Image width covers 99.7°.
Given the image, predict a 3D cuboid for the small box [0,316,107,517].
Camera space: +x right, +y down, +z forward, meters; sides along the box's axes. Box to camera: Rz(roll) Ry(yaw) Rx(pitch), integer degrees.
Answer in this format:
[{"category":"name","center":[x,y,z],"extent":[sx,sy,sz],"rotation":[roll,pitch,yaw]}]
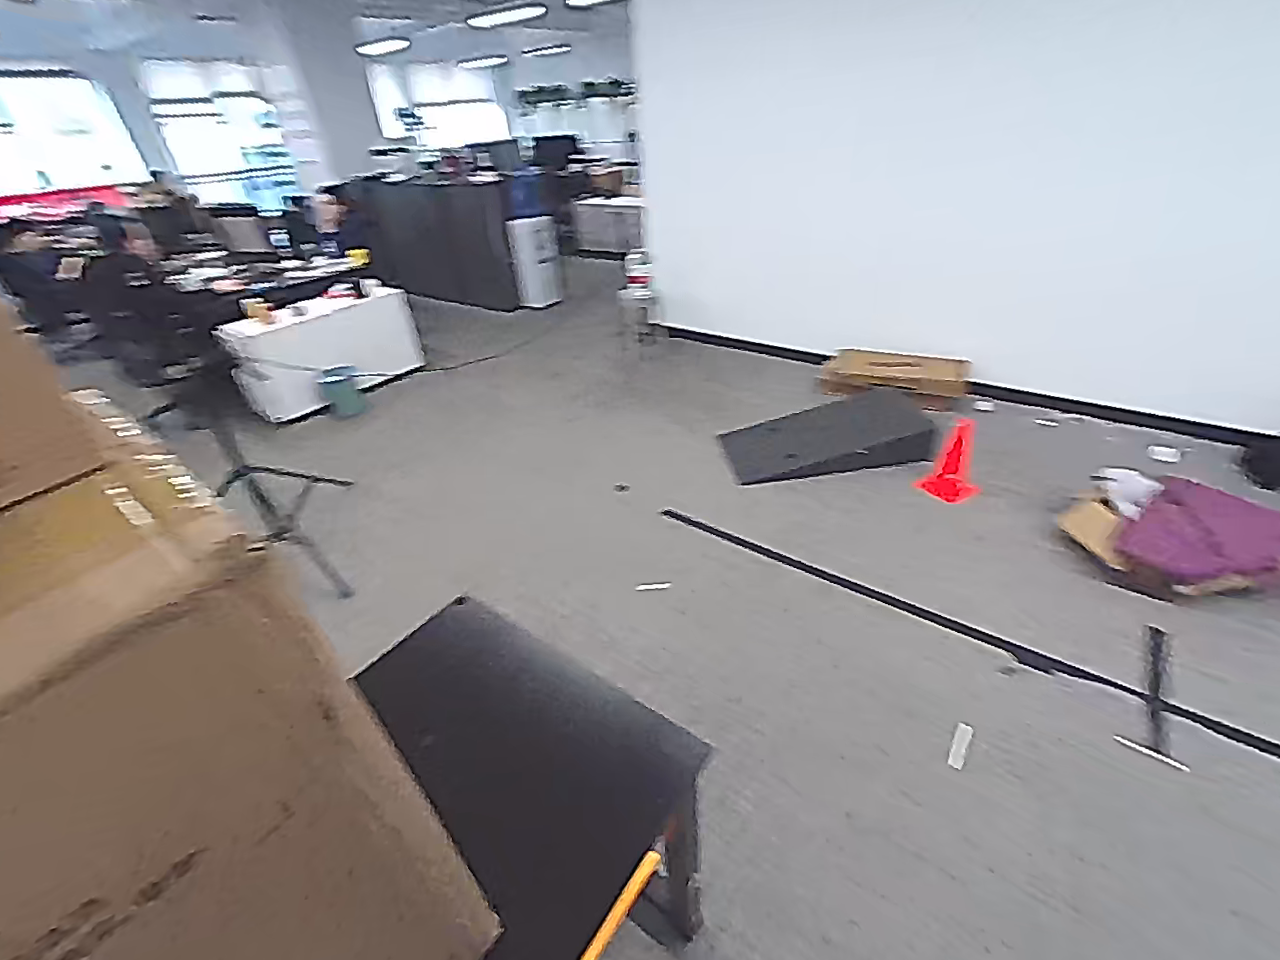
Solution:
[{"category":"small box","center":[-0.486,-0.053,0.324],"extent":[0.179,0.176,0.168],"rotation":[16,40,30]}]
